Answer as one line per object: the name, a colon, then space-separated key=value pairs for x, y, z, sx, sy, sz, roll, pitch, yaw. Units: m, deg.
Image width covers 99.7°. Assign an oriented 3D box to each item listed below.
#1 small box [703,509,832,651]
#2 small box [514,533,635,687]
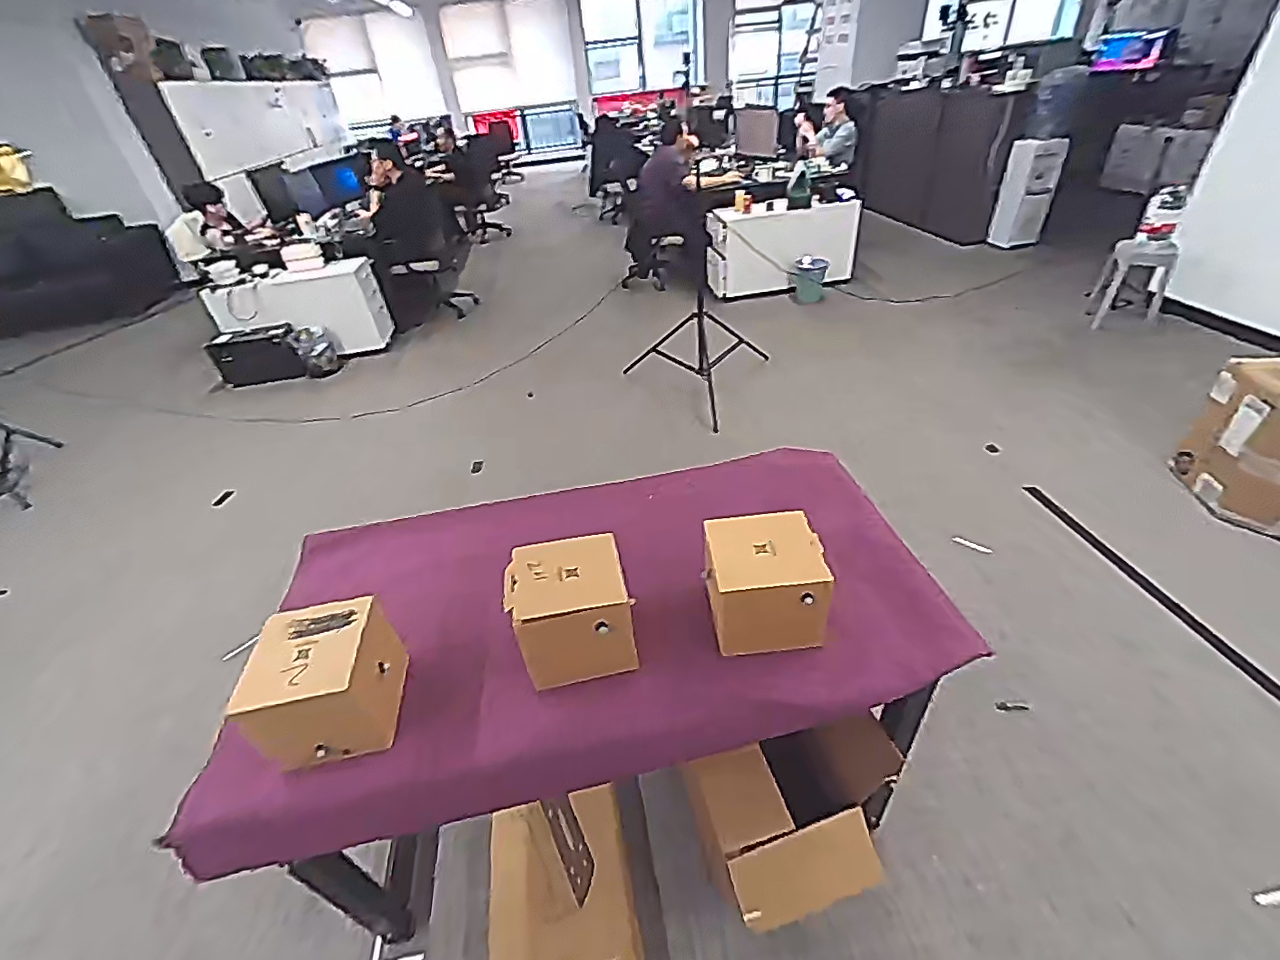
small box: x=0.208 y=0.172 z=0.921 sx=0.179 sy=0.176 sz=0.168 roll=-7 pitch=37 yaw=0
small box: x=-0.107 y=0.218 z=0.908 sx=0.179 sy=0.176 sz=0.168 roll=-11 pitch=35 yaw=-6
